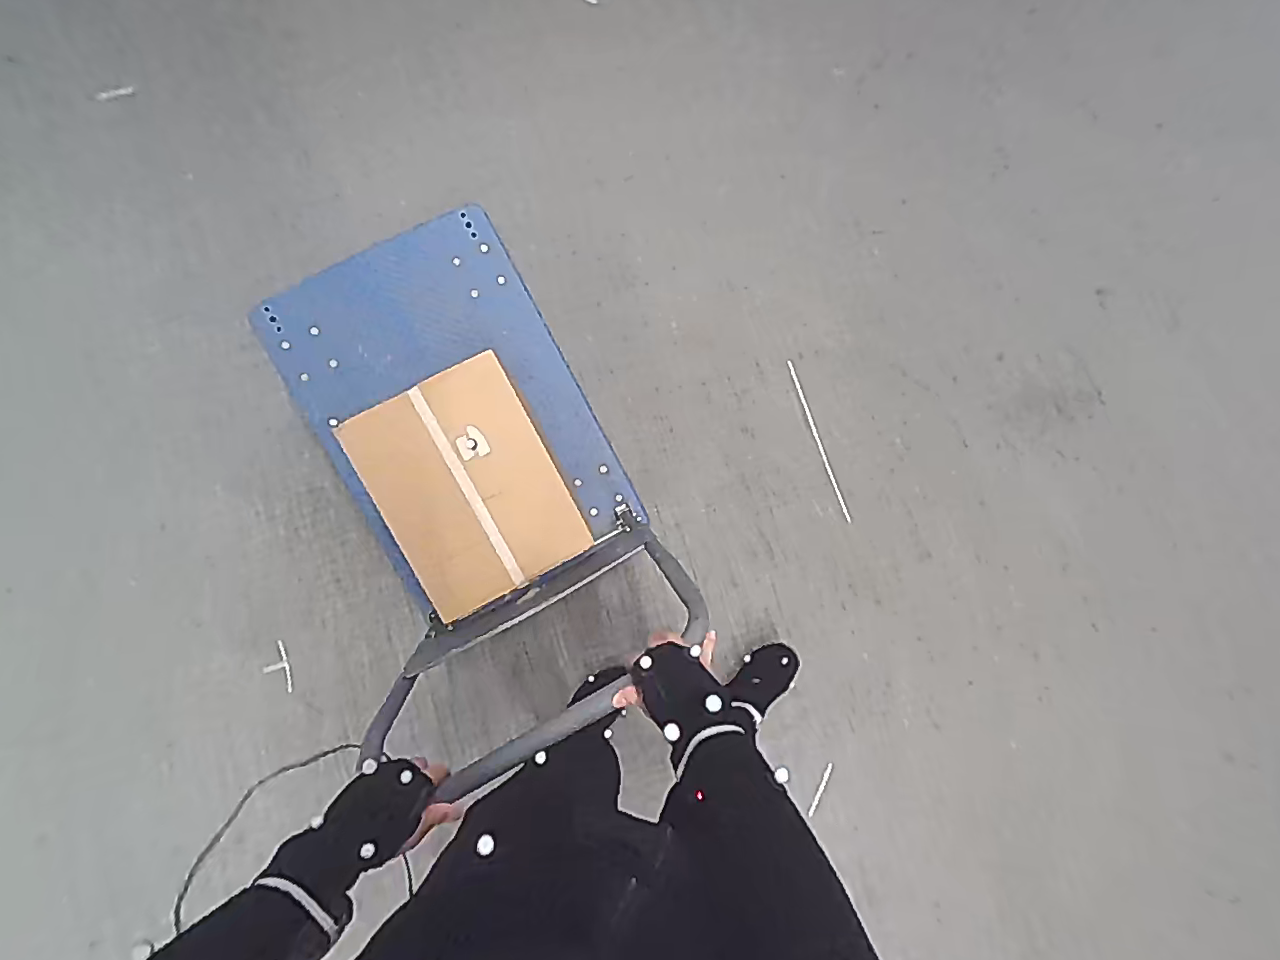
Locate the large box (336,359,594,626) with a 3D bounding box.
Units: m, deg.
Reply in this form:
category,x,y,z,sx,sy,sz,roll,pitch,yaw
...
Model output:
category,x,y,z,sx,sy,sz,roll,pitch,yaw
large box,-0.325,0.020,1.126,0.320,0.320,0.408,-29,95,-5
